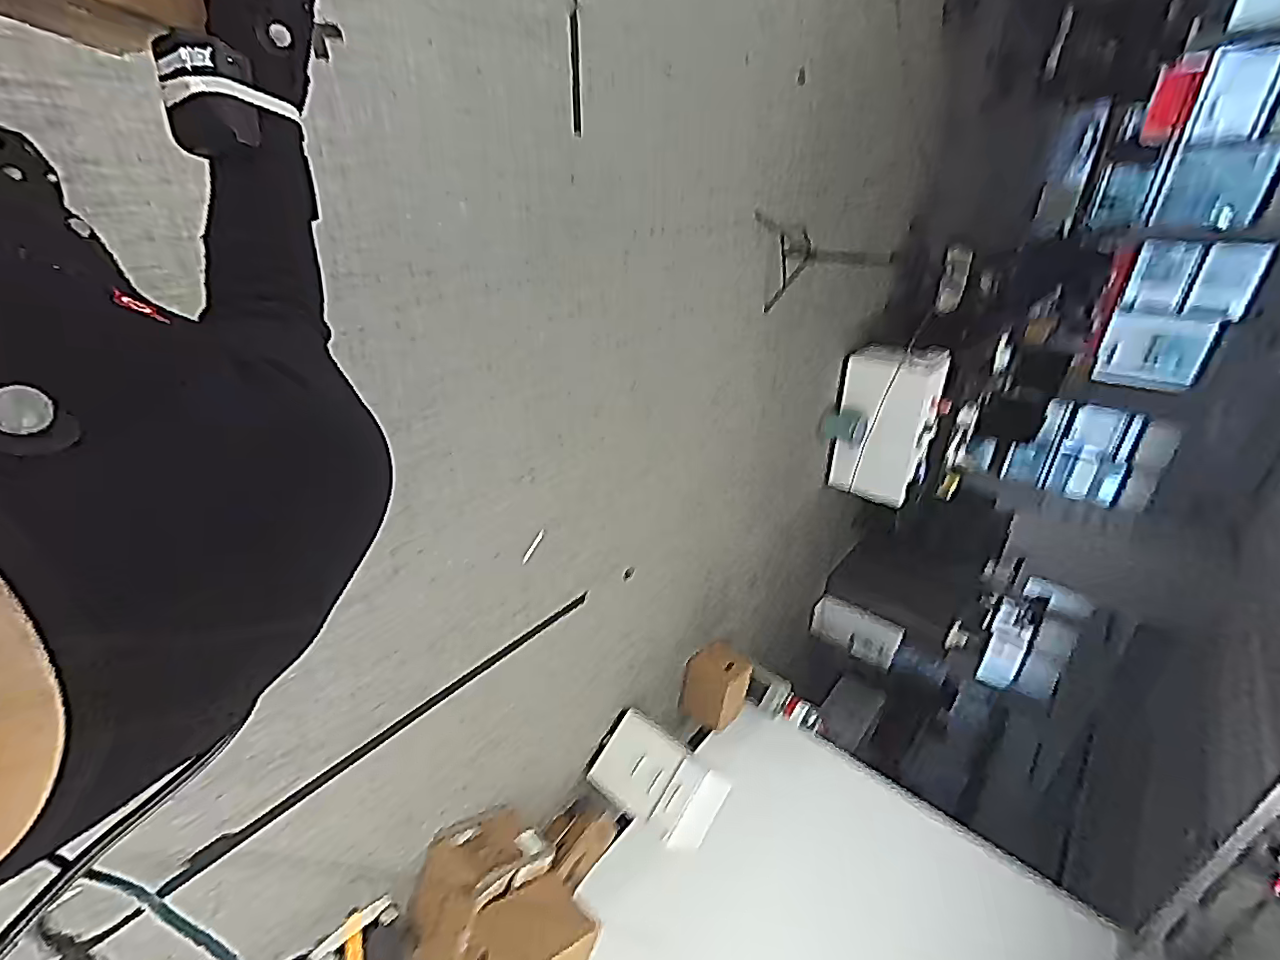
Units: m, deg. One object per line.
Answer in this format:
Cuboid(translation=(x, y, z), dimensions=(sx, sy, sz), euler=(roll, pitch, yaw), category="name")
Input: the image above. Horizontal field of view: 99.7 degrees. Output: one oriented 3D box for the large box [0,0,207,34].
Cuboid(translation=(-0.519, -0.495, 0.264), dimensions=(0.408, 0.320, 0.320), euler=(-15, 125, -50), category="large box")
